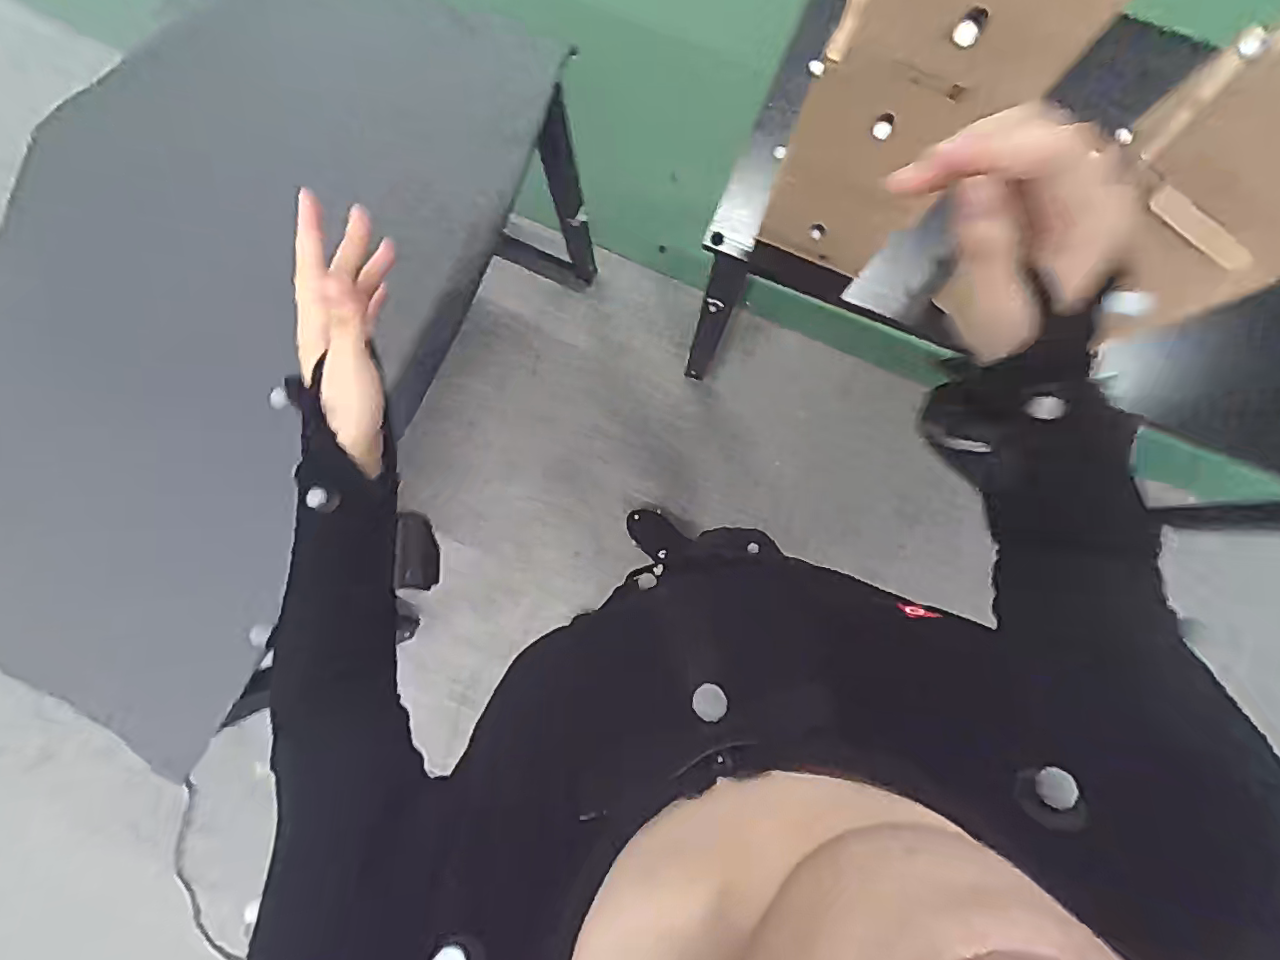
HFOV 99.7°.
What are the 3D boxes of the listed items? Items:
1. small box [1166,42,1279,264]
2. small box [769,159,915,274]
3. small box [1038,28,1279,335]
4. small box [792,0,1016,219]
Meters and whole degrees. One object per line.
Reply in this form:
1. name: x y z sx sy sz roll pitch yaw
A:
1. small box: 0.566 -0.278 0.389 0.179 0.176 0.168 44 86 4
2. small box: 0.290 -0.414 0.733 0.168 0.176 0.179 24 86 2
3. small box: 0.562 -0.280 0.552 0.168 0.176 0.179 42 86 3
4. small box: 0.287 -0.411 0.570 0.179 0.176 0.168 24 86 3
